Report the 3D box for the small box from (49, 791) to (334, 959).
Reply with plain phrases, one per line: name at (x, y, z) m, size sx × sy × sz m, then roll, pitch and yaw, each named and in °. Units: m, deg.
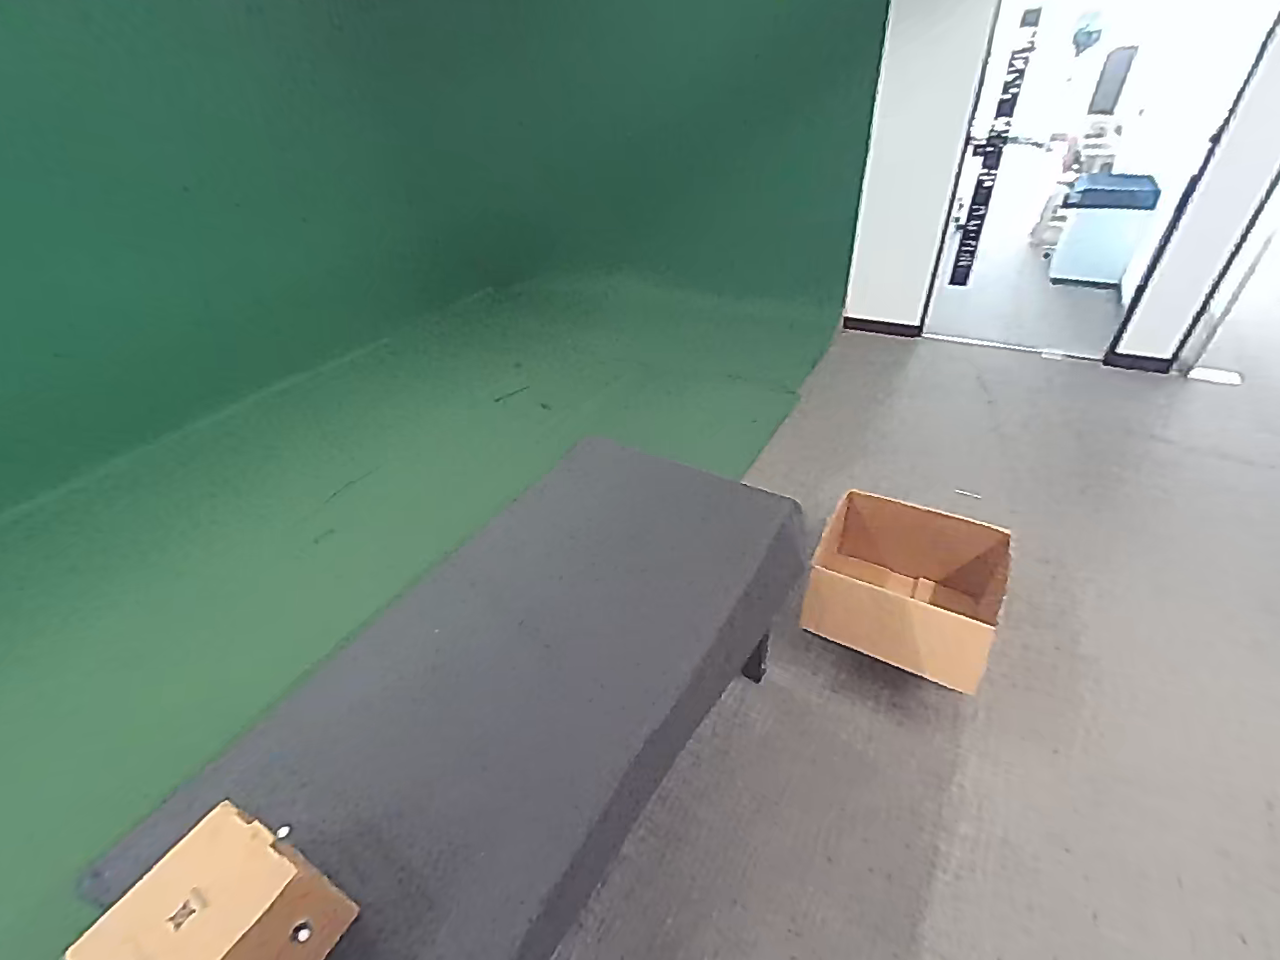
small box at (-0.496, 0.517, 0.632) m, size 0.168 × 0.176 × 0.179 m, roll 15°, pitch 44°, yaw 25°
